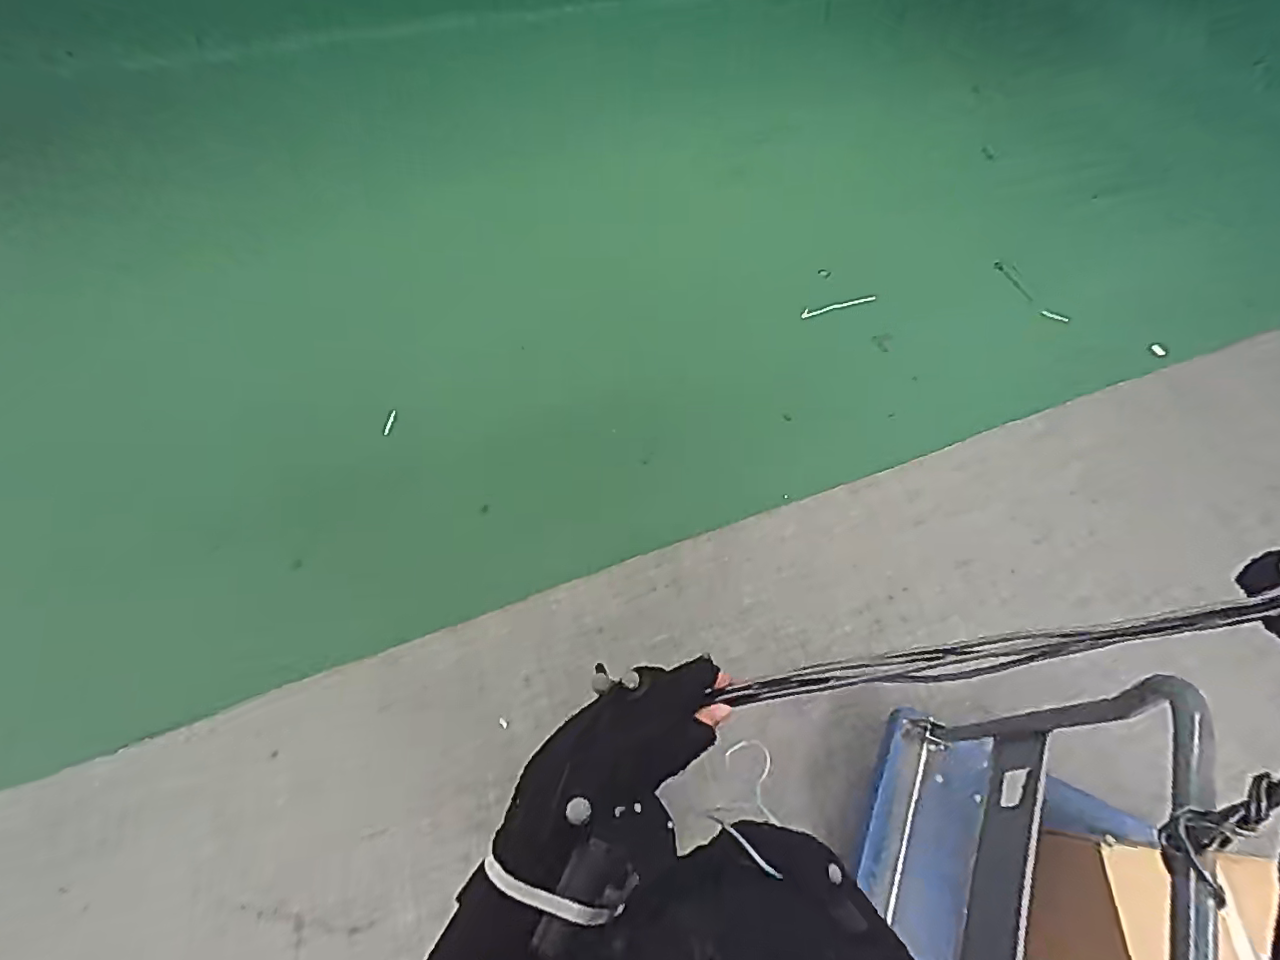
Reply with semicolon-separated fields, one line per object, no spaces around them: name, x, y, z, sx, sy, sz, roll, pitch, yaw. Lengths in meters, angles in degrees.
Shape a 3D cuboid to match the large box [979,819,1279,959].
large box;0.817;0.795;0.862;0.320;0.320;0.408;5;60;0
